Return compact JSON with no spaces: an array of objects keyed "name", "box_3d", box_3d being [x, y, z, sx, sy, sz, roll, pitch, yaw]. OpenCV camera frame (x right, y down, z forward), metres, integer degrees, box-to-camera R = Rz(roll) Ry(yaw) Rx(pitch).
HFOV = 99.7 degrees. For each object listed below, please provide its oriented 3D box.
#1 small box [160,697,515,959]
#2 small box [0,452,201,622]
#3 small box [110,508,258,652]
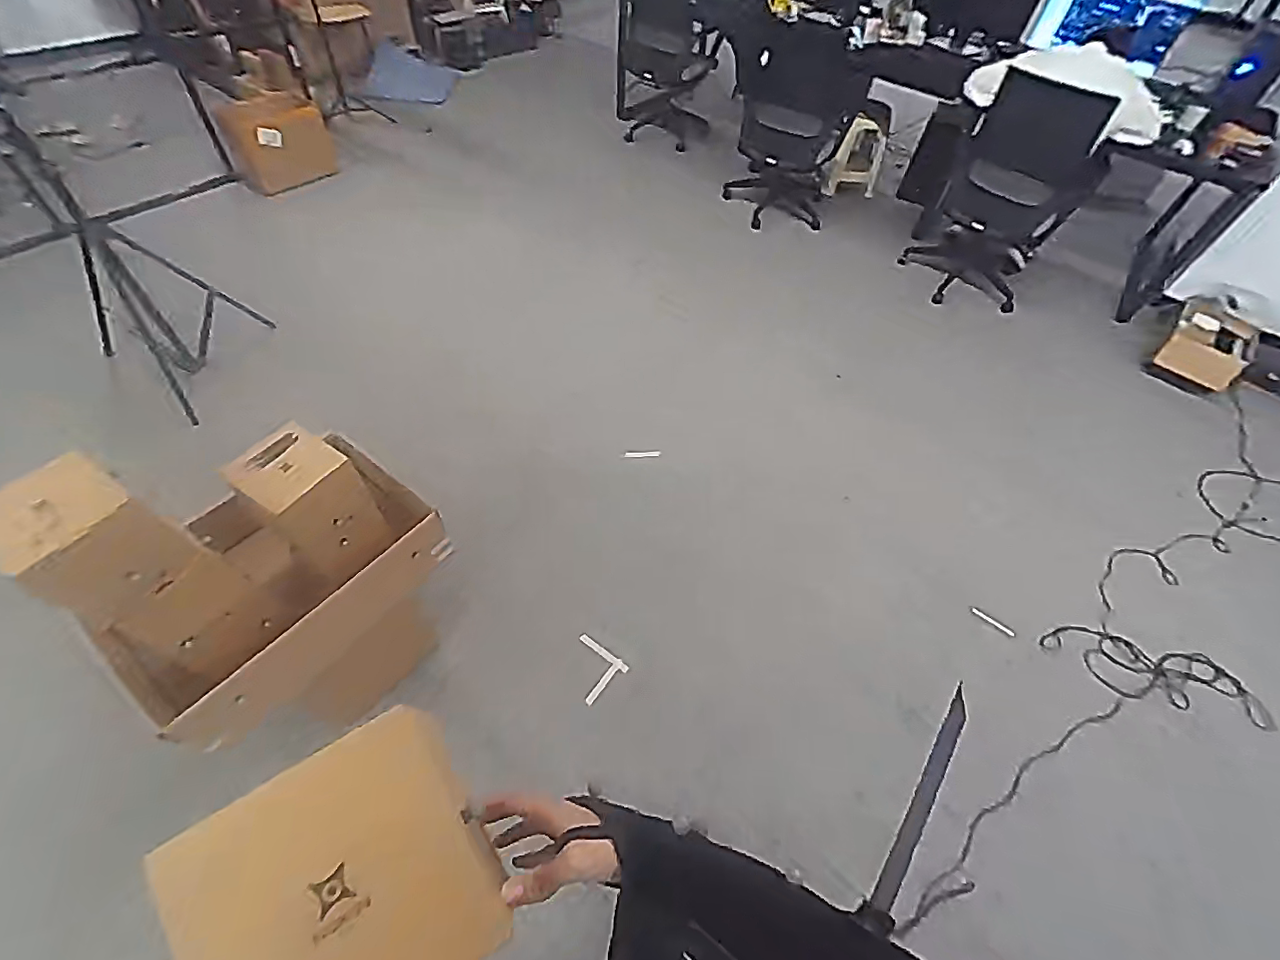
[{"name":"small box","box_3d":[-0.213,0.299,0.423,0.168,0.176,0.179,-27,74,-24]},{"name":"small box","box_3d":[-0.857,0.094,0.846,0.179,0.176,0.168,28,57,18]},{"name":"small box","box_3d":[-0.851,0.189,0.982,0.179,0.176,0.168,29,57,19]}]
